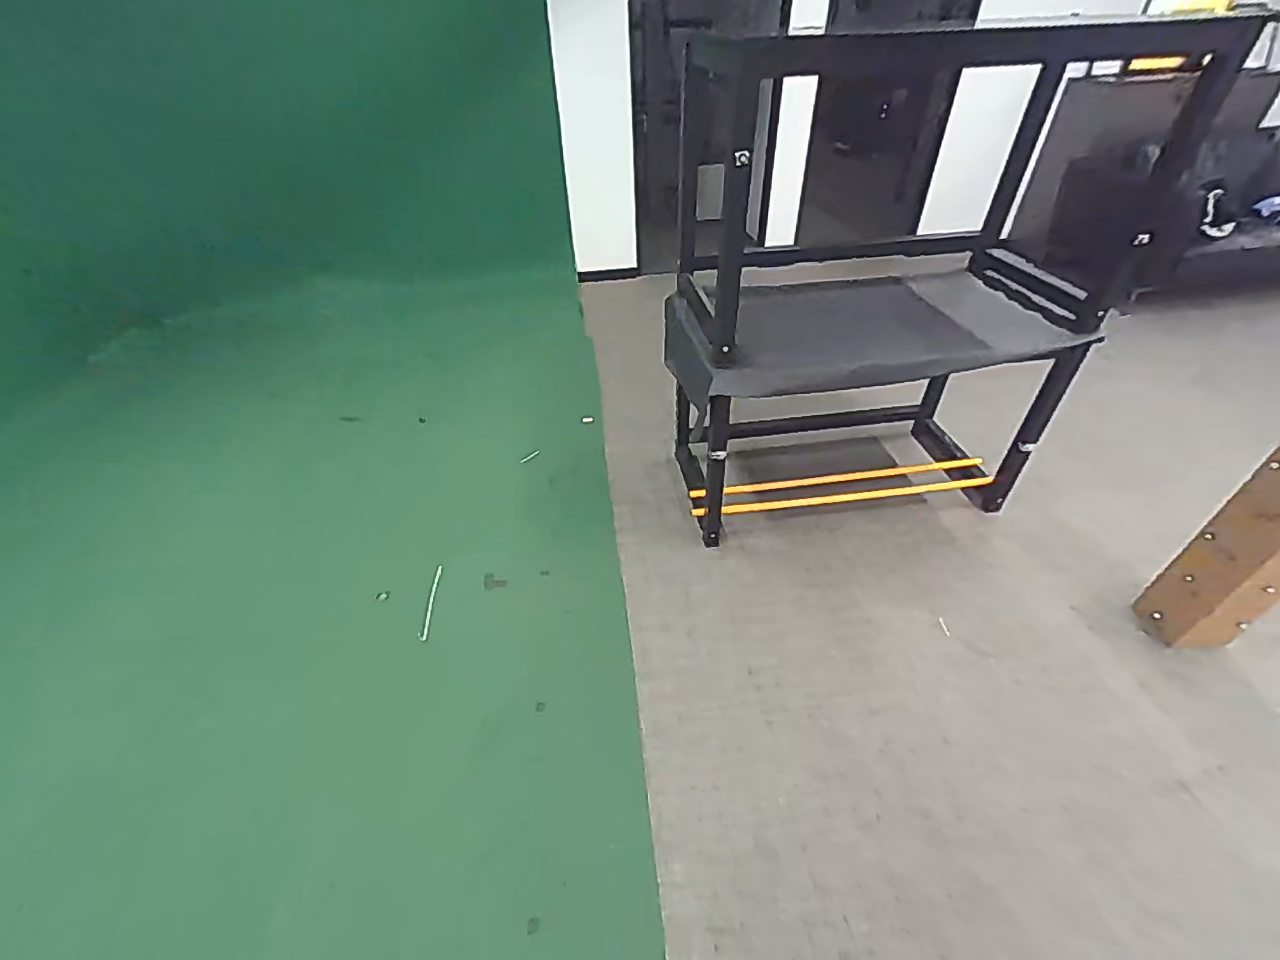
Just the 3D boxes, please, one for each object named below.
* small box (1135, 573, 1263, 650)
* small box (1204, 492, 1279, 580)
[{"bbox_3d":[1.679,0.400,1.639,0.179,0.176,0.168,-3,40,0],"label":"small box"},{"bbox_3d":[1.669,0.150,1.429,0.179,0.176,0.168,-4,41,-2],"label":"small box"}]
